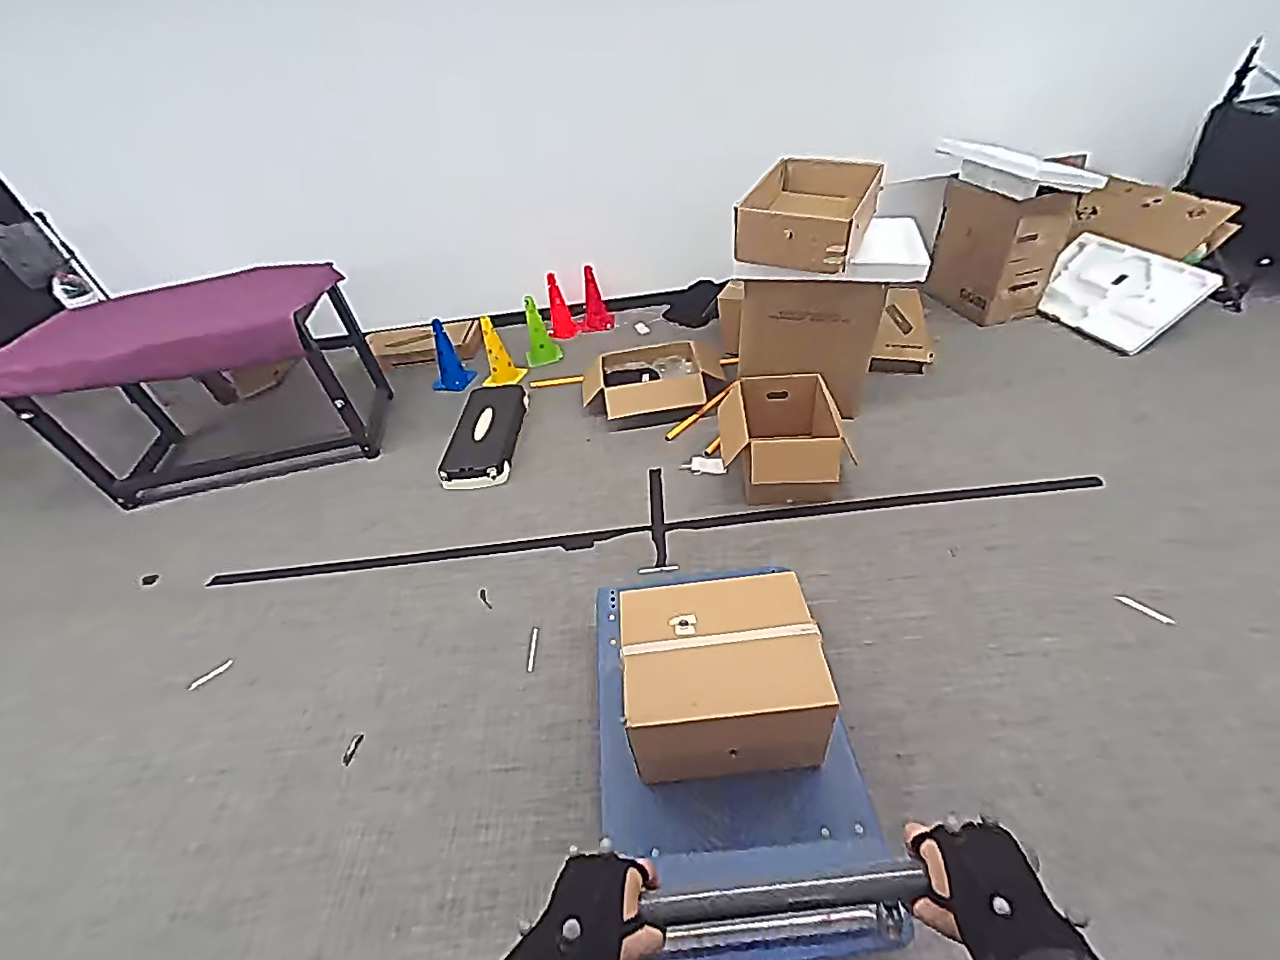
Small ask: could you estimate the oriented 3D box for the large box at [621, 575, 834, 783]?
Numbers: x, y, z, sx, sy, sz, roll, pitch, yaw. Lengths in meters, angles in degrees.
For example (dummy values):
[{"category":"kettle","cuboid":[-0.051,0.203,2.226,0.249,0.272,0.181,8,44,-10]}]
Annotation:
[{"category":"large box","cuboid":[0.183,0.458,1.238,0.408,0.320,0.320,-8,41,2]}]
